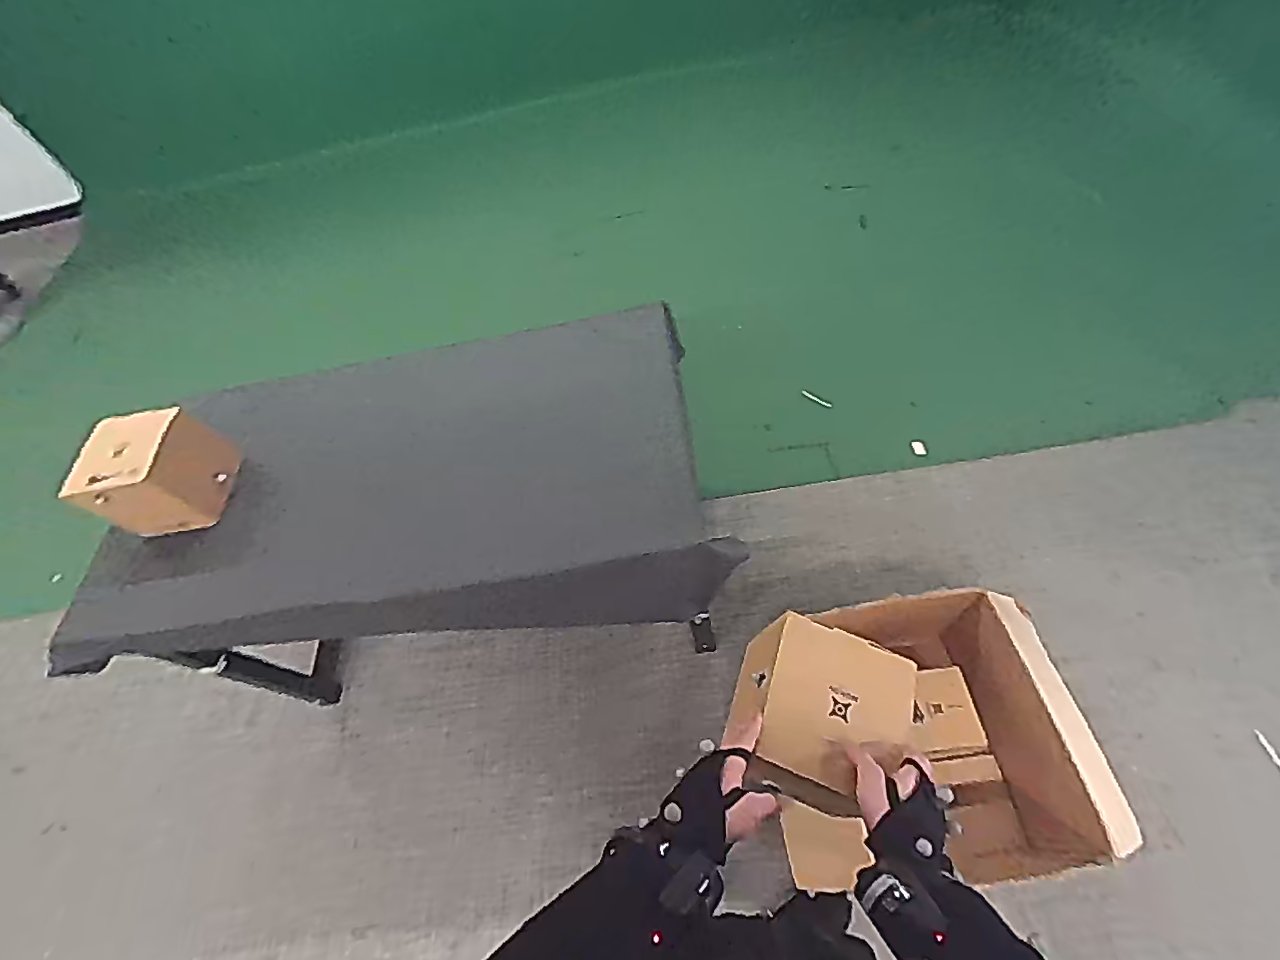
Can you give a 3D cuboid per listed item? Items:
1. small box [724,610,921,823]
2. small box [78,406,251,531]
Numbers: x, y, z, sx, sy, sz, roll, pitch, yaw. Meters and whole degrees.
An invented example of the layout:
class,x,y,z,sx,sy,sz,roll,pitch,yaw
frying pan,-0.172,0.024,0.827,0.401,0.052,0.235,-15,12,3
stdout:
class,x,y,z,sx,sy,sz,roll,pitch,yaw
small box,0.215,0.291,0.664,0.168,0.176,0.179,21,59,5
small box,-0.929,-0.019,1.081,0.168,0.176,0.179,-8,55,5
